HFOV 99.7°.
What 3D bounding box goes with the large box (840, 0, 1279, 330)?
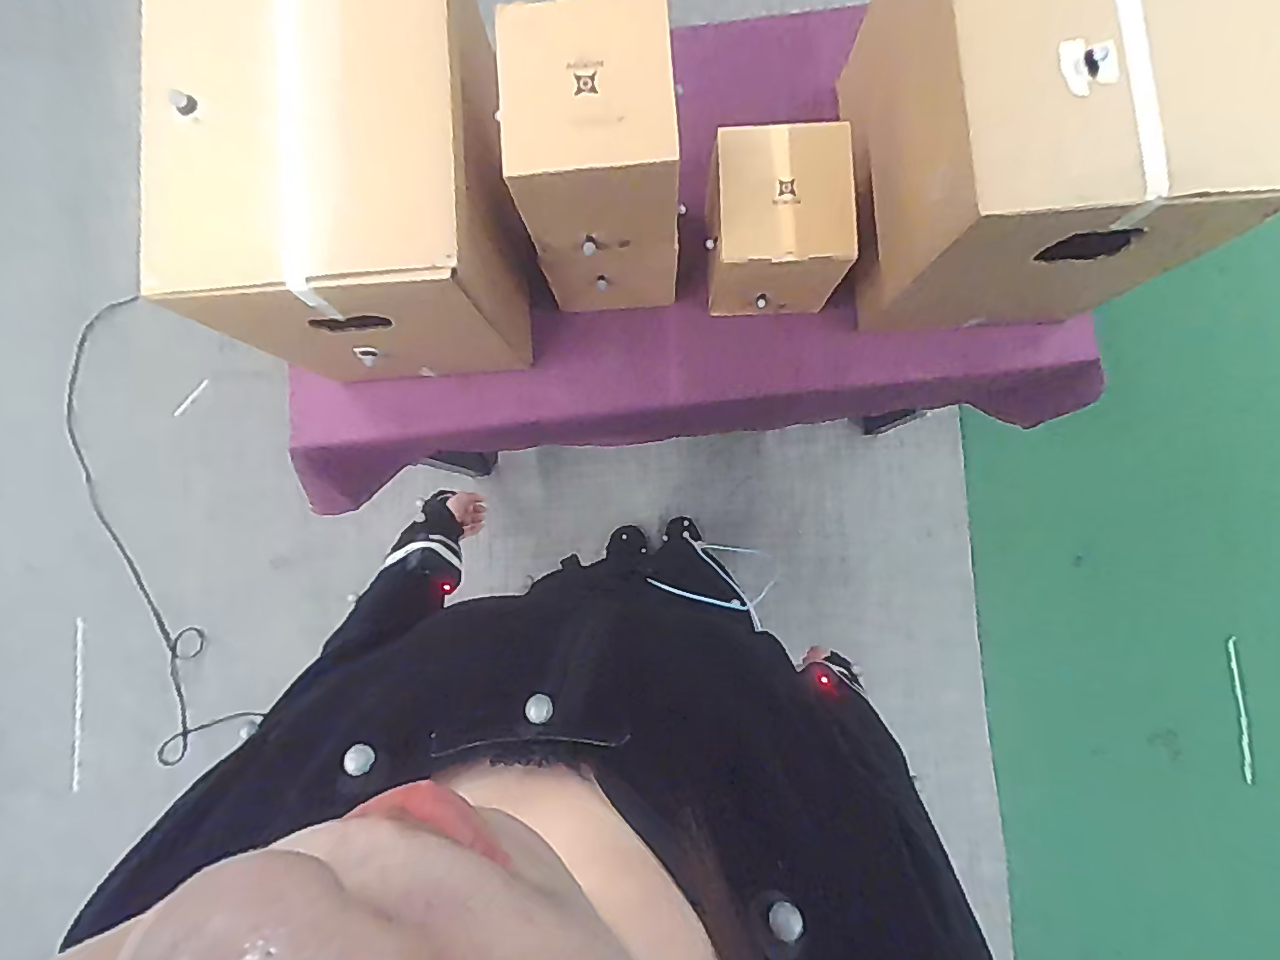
[{"bbox_3d":[0.470,-0.438,0.678,0.320,0.320,0.408,-3,86,1],"label":"large box"}]
